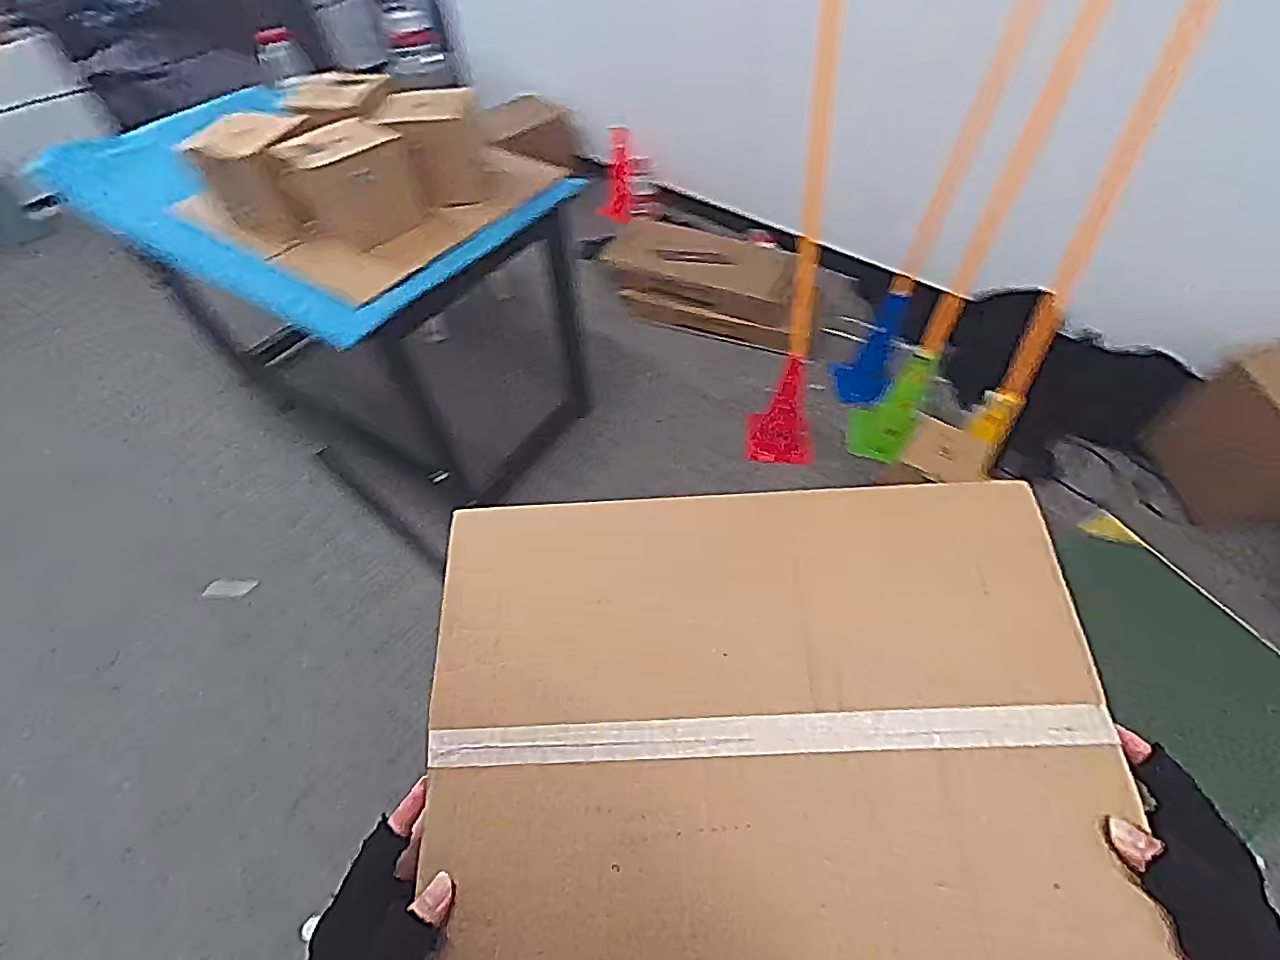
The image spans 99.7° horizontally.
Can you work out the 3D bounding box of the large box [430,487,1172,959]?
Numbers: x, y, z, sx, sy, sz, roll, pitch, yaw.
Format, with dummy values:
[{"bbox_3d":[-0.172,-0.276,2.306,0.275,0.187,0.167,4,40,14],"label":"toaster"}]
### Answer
[{"bbox_3d":[0.081,0.221,0.470,0.408,0.320,0.320,-5,68,2],"label":"large box"}]
